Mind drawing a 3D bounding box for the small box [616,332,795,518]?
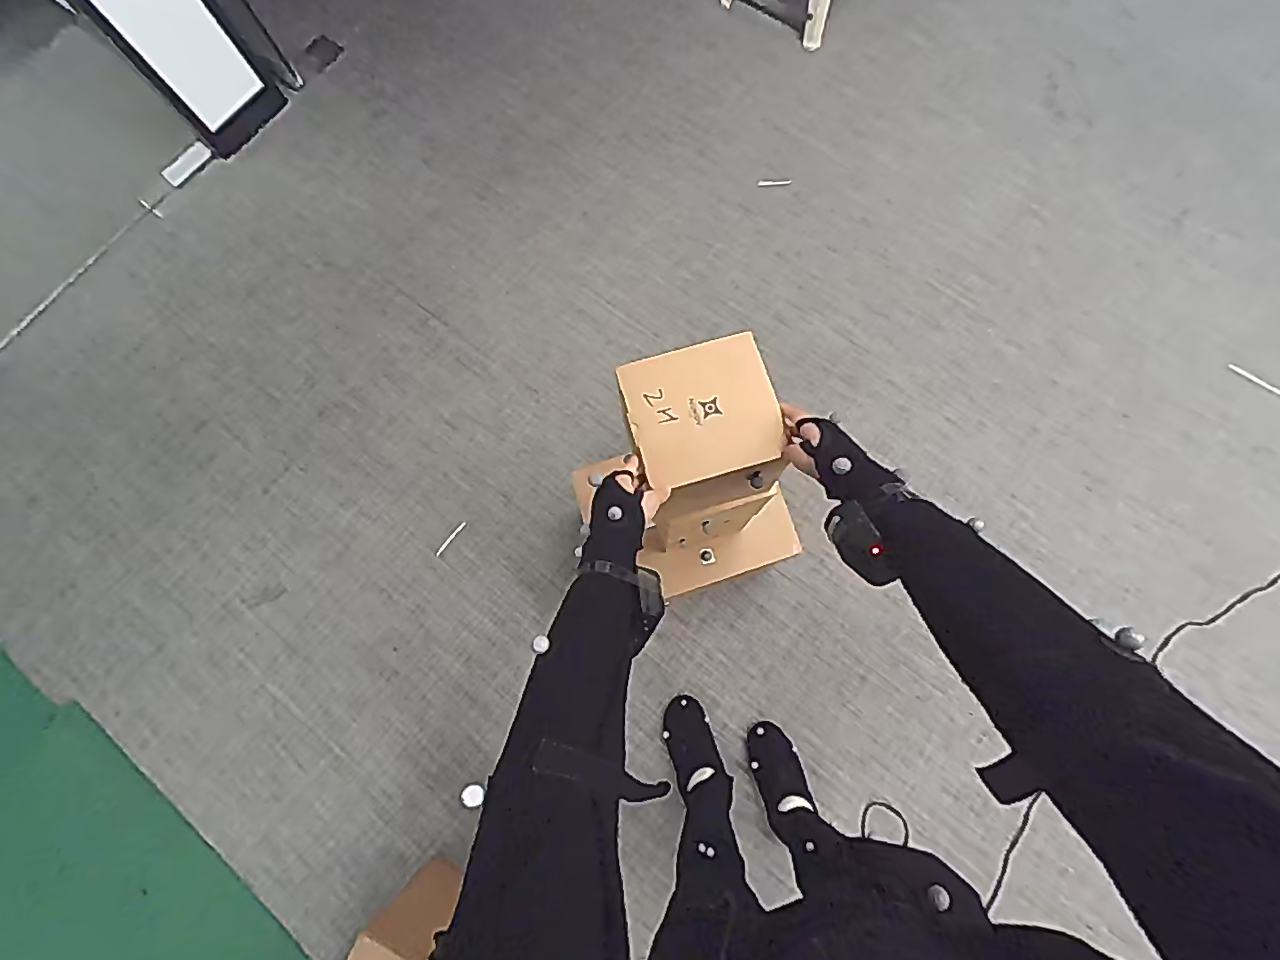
[{"bbox_3d":[0.076,-0.062,0.706,0.179,0.176,0.168,-16,73,-2],"label":"small box"}]

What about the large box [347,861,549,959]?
[{"bbox_3d":[-0.415,1.053,1.021,0.320,0.320,0.408,23,78,9],"label":"large box"}]

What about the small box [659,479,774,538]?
[{"bbox_3d":[0.095,-0.015,0.863,0.168,0.176,0.179,-17,73,-2],"label":"small box"}]
